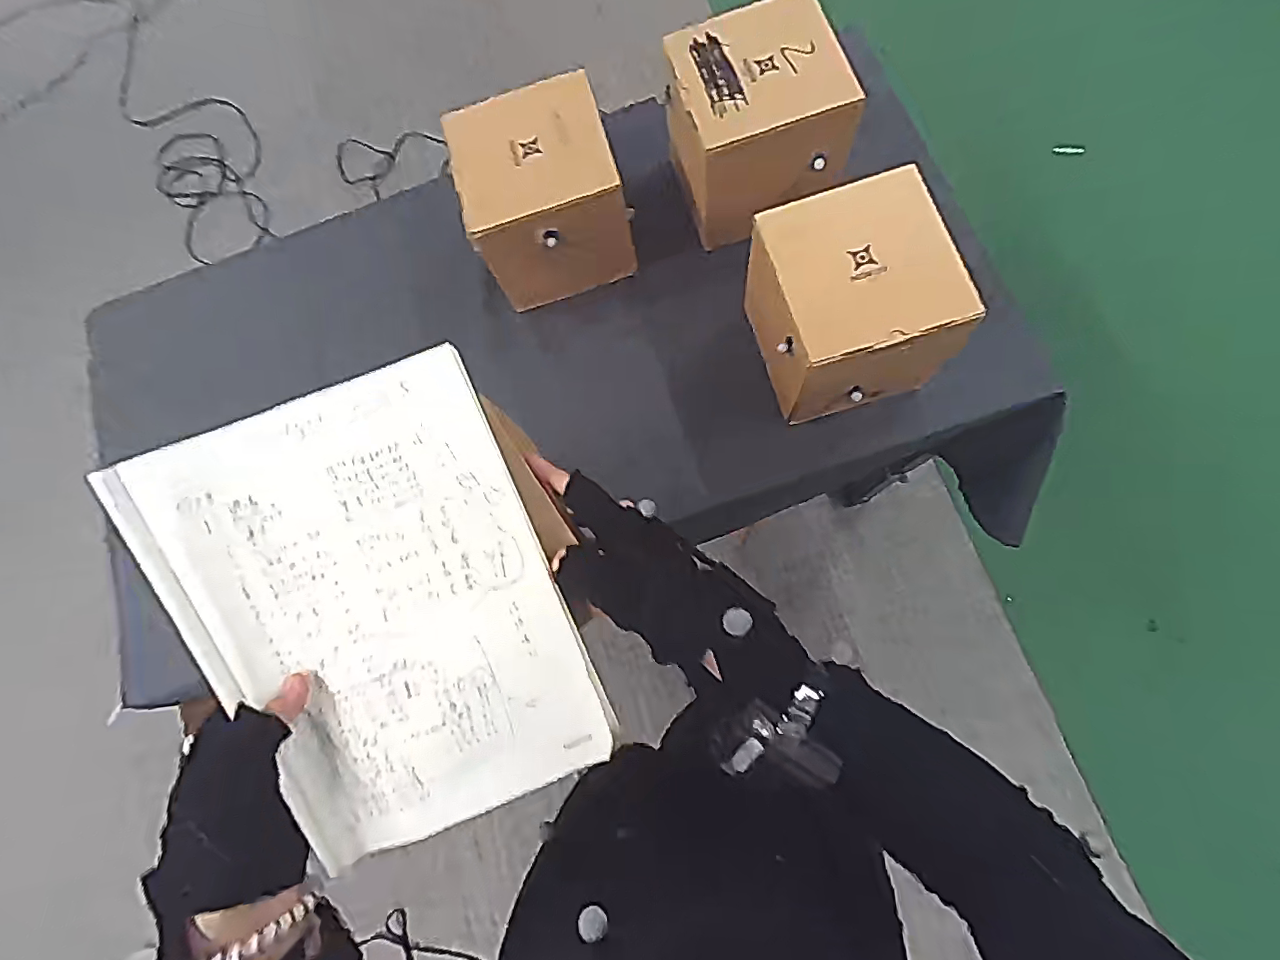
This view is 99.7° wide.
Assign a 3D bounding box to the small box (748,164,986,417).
[{"bbox_3d":[0.225,-0.193,0.593,0.168,0.176,0.179,-16,76,3],"label":"small box"}]
